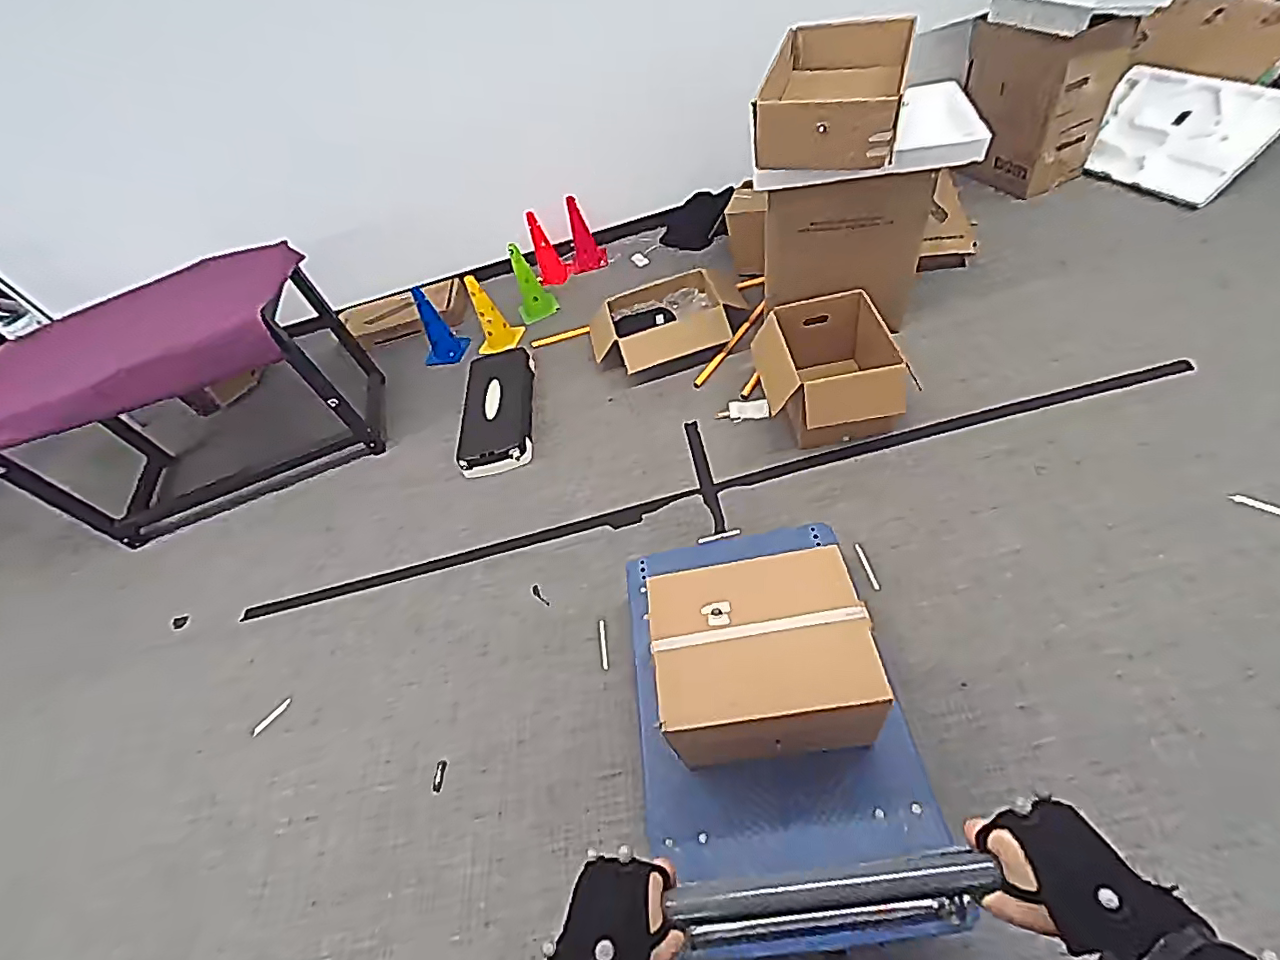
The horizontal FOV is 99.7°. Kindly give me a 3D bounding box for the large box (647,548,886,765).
[{"bbox_3d":[0.254,0.388,1.159,0.408,0.320,0.320,-12,49,7],"label":"large box"}]
